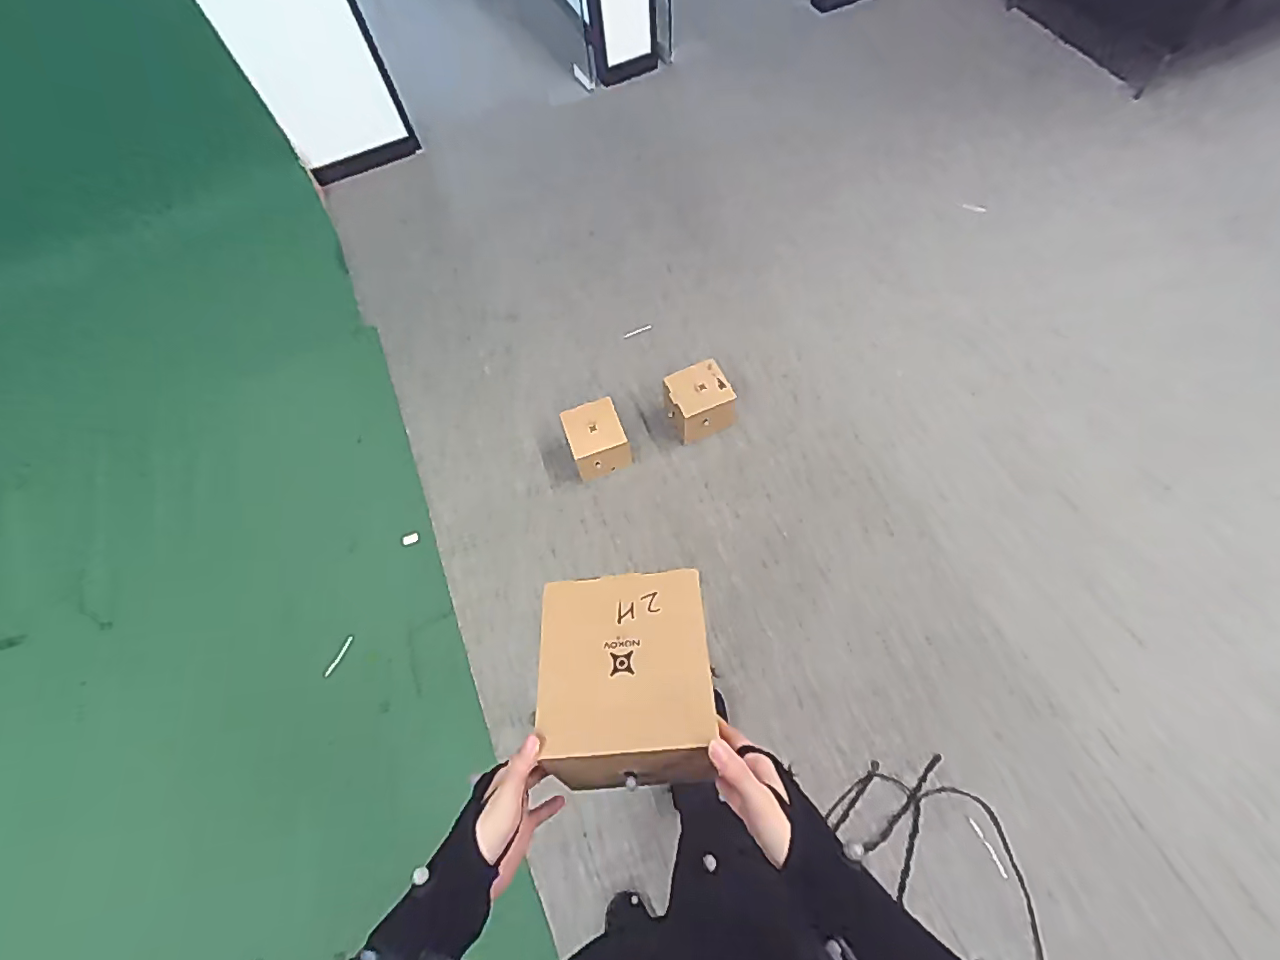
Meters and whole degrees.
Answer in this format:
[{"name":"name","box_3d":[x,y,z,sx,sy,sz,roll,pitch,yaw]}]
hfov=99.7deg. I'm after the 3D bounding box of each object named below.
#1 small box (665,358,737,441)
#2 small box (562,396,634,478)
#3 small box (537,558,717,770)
[{"name":"small box","box_3d":[0.193,-0.248,1.712,0.179,0.176,0.168,-23,65,-5]},{"name":"small box","box_3d":[-0.126,-0.125,1.685,0.168,0.176,0.179,-20,64,-4]},{"name":"small box","box_3d":[-0.006,0.208,0.593,0.168,0.176,0.179,-6,51,3]}]
